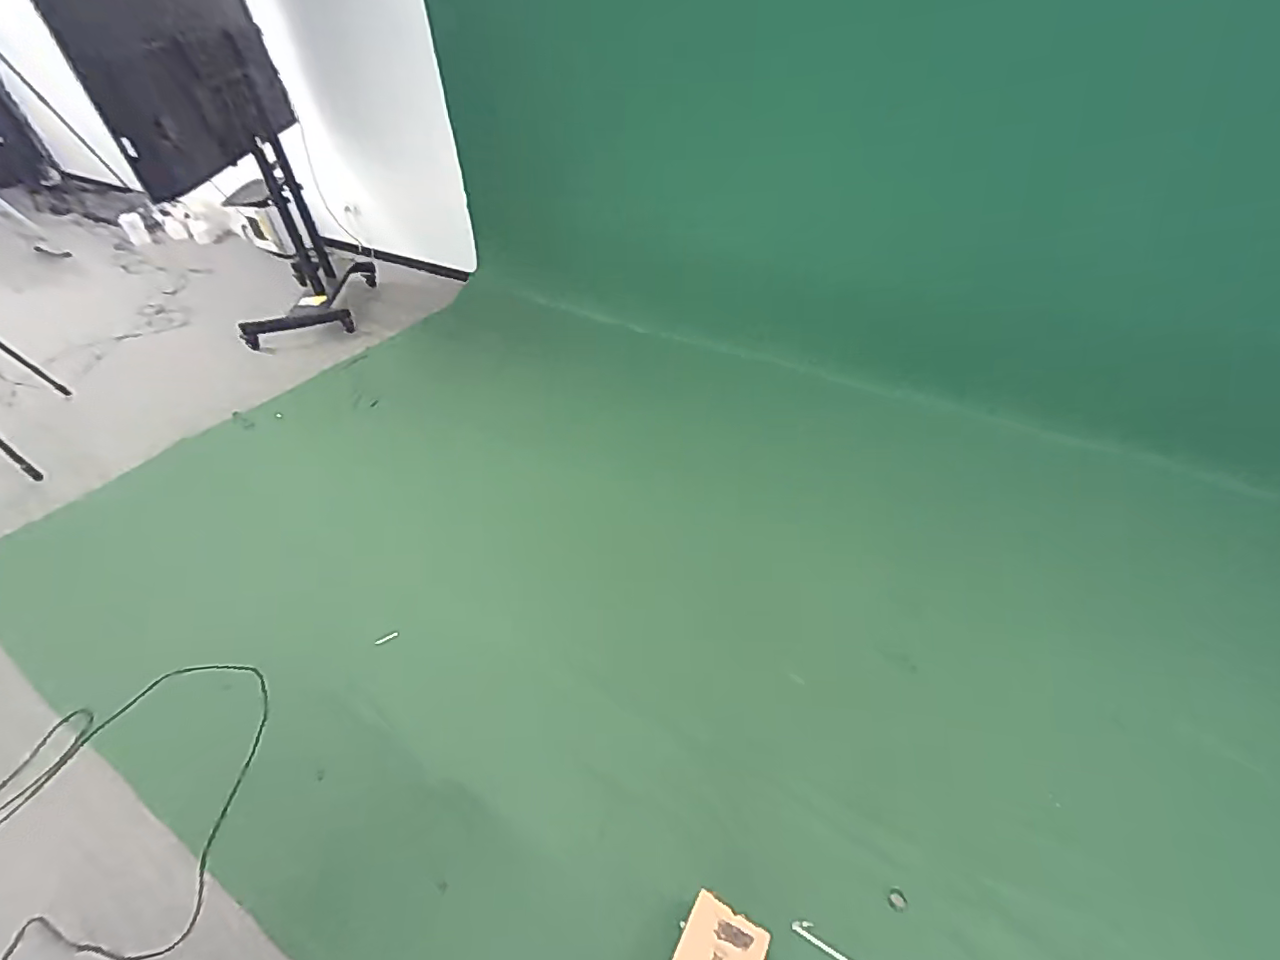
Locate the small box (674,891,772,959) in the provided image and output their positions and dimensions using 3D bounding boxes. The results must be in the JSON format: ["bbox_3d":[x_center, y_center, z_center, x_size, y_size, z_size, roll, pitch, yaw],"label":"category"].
[{"bbox_3d":[0.167,1.045,1.167,0.168,0.176,0.179,21,48,23],"label":"small box"}]
